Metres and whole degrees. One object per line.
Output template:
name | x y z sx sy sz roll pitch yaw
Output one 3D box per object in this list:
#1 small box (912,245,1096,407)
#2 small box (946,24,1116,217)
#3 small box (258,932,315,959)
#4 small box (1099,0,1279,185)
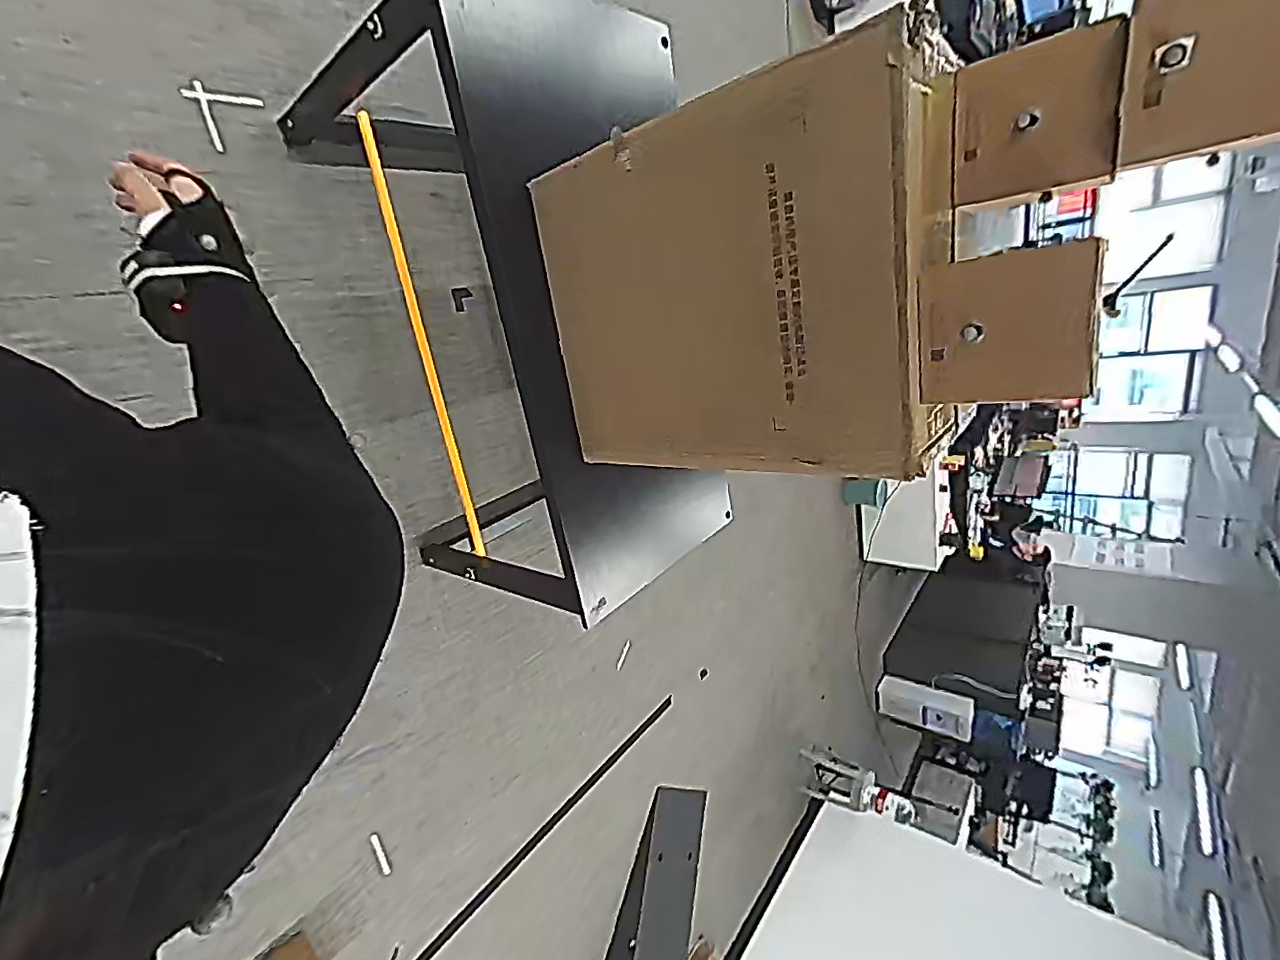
small box | 0.456 -0.188 0.680 0.179 0.176 0.168 -24 111 -46
small box | 0.524 -0.461 0.729 0.179 0.176 0.168 -28 116 -45
small box | -0.896 1.296 1.344 0.179 0.176 0.168 -23 111 -45
small box | 0.629 -0.441 0.600 0.179 0.176 0.168 -31 117 -44
